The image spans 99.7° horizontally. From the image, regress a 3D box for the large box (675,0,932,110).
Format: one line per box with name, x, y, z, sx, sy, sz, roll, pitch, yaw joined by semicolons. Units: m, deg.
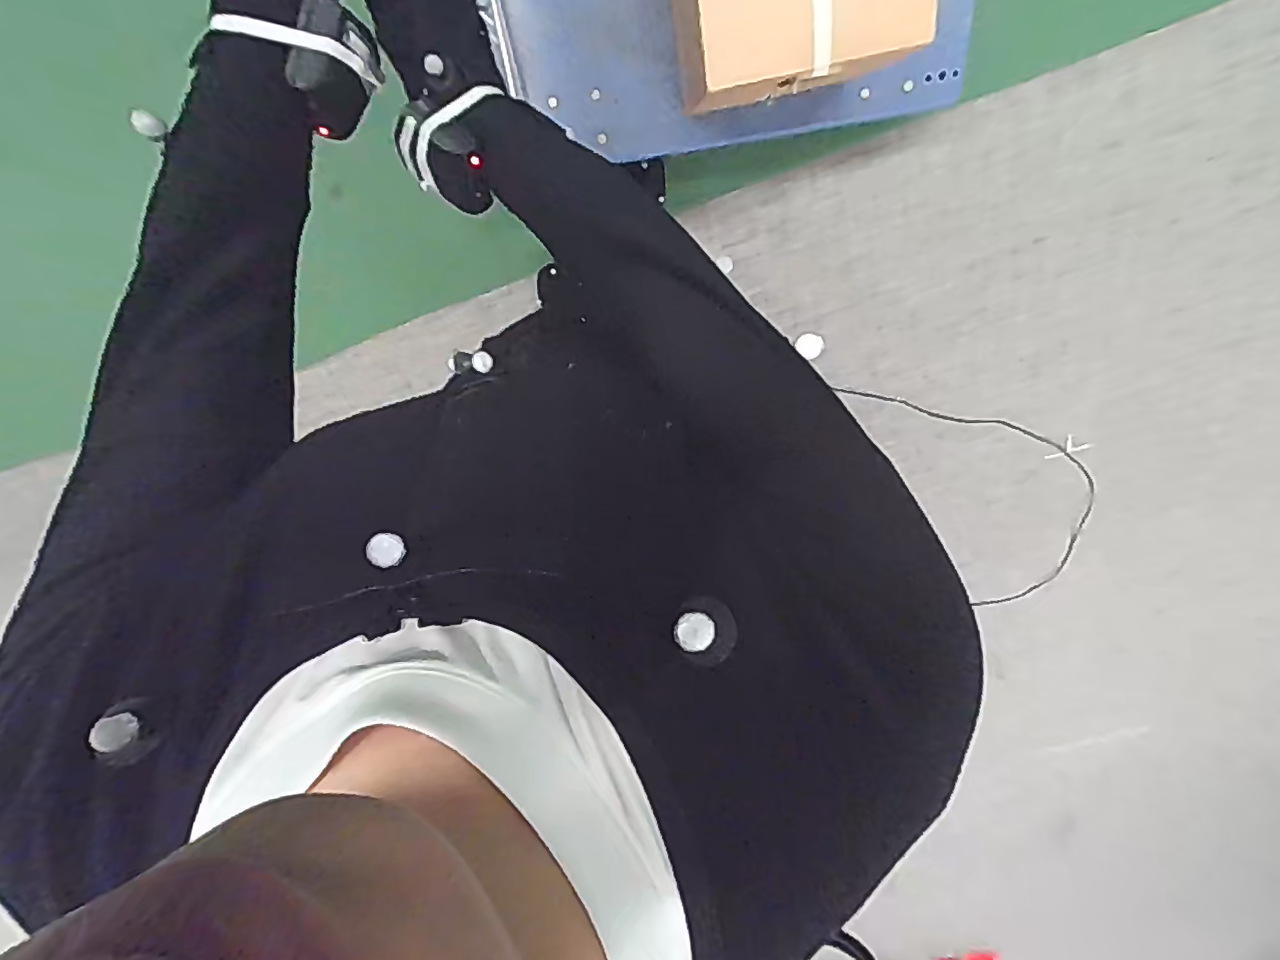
large box;0.202;-0.817;0.779;0.320;0.320;0.408;-10;119;3
